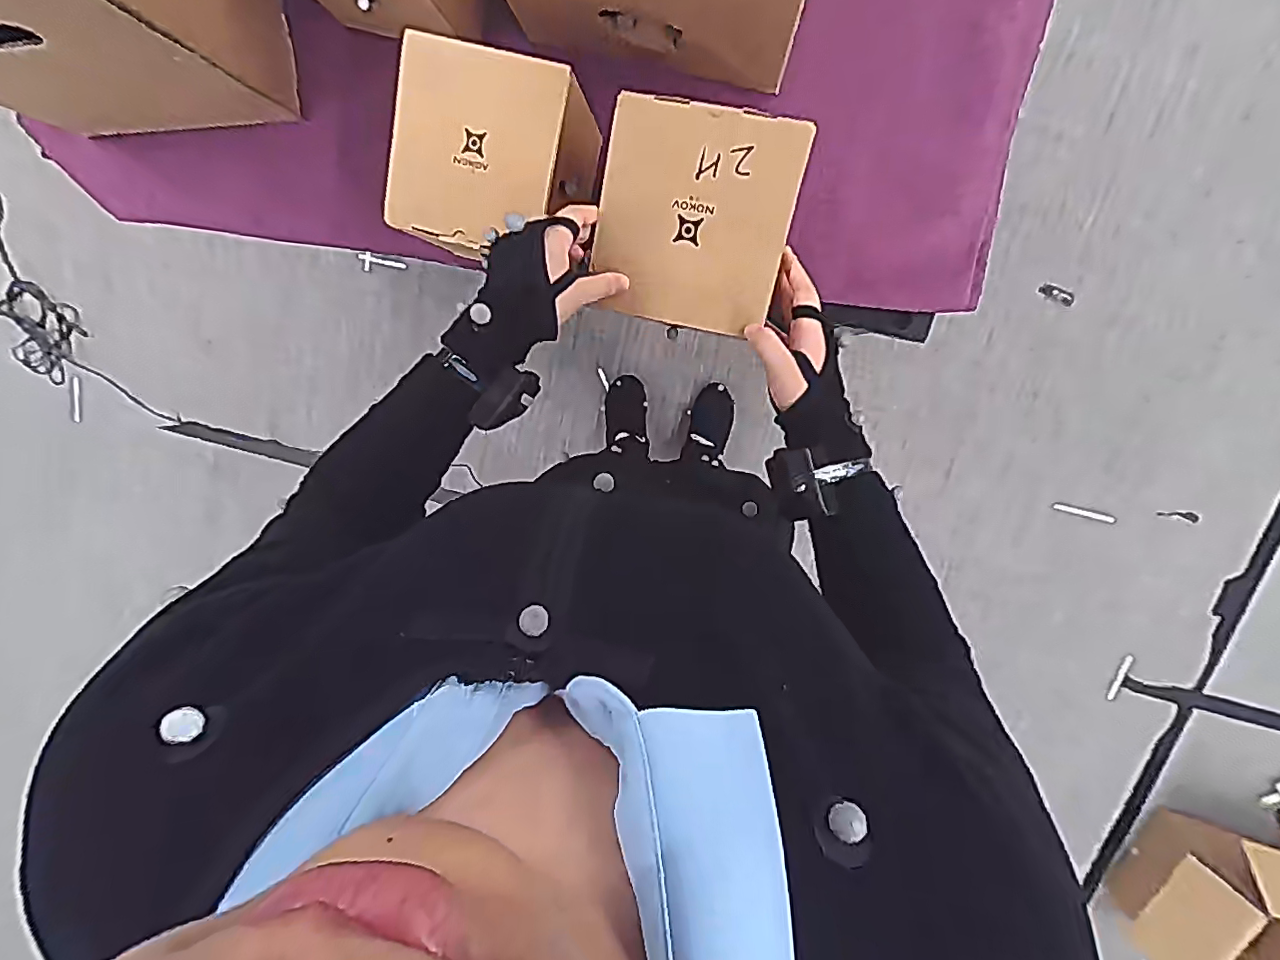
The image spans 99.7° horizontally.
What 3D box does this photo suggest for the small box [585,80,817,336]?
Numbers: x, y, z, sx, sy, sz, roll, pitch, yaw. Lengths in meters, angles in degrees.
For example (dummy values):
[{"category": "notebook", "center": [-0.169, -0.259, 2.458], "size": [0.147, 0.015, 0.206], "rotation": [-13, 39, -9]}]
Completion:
[{"category": "small box", "center": [0.059, -0.246, 0.533], "size": [0.168, 0.176, 0.179], "rotation": [14, 106, 5]}]
